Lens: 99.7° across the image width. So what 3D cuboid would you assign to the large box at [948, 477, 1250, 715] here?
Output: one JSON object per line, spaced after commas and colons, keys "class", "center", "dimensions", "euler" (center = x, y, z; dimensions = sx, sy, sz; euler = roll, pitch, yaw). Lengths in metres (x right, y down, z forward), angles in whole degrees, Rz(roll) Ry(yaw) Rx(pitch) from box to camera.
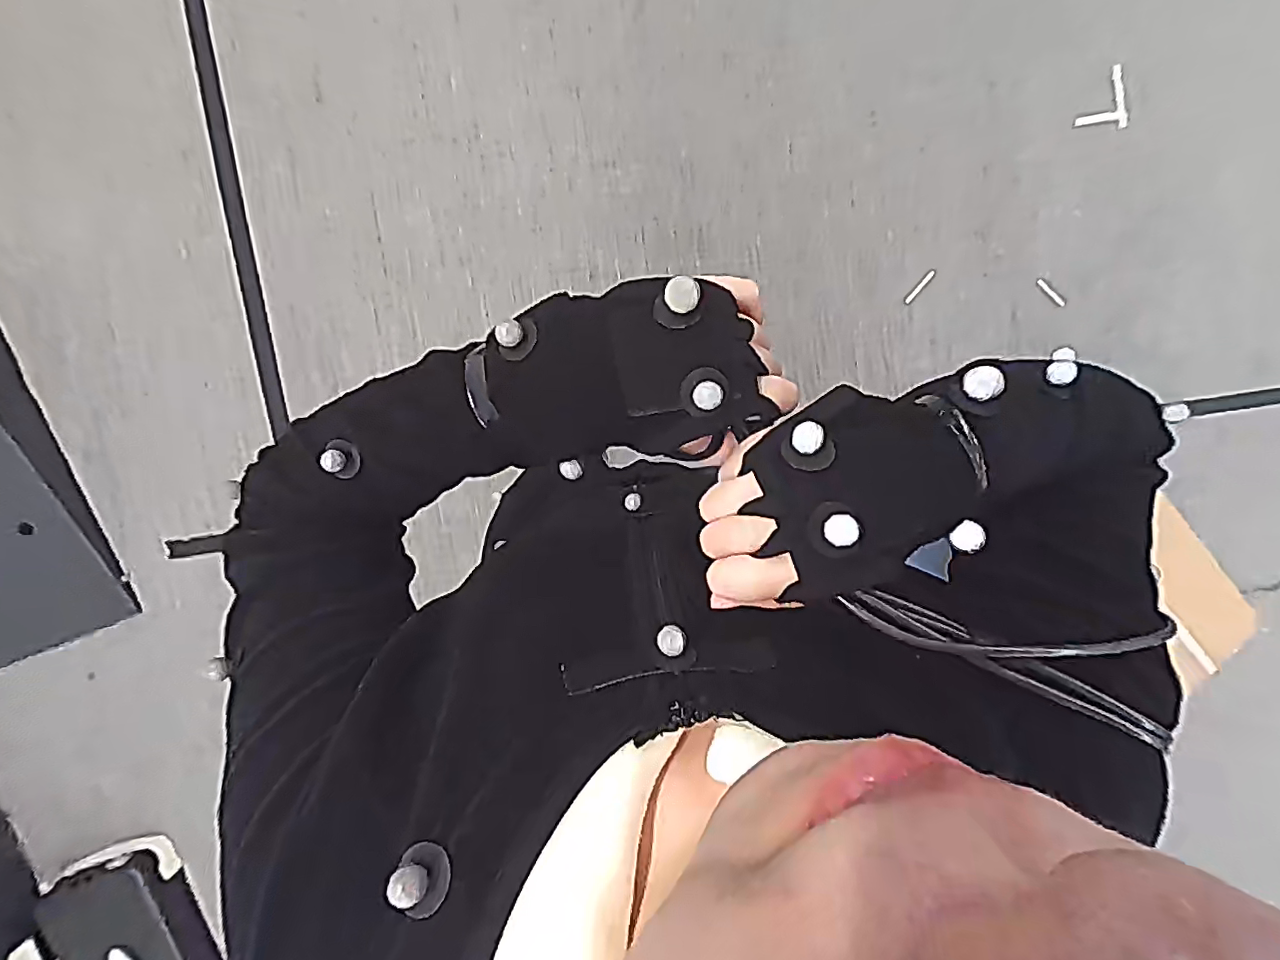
{"class": "large box", "center": [1.041, 0.243, 1.269], "dimensions": [0.320, 0.320, 0.408], "euler": [-42, 97, -1]}
